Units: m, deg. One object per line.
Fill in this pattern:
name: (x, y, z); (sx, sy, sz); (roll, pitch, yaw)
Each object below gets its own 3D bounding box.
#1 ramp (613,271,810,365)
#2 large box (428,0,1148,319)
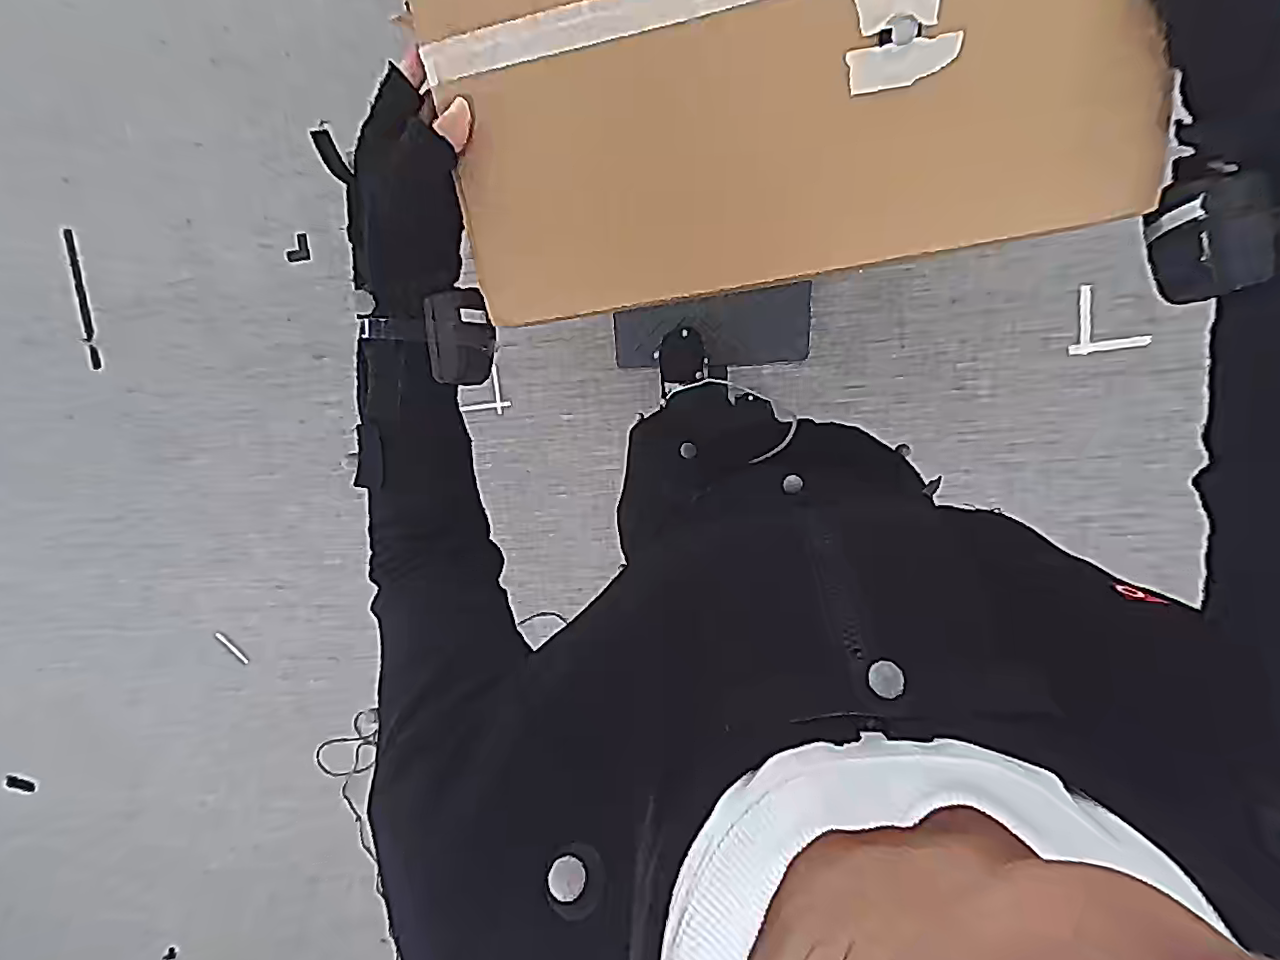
ramp: (0.150, -0.776, 1.228); (0.509, 0.206, 0.991); (-3, 101, 7)
large box: (0.085, -0.330, 0.448); (0.408, 0.320, 0.320); (-8, 108, 9)
